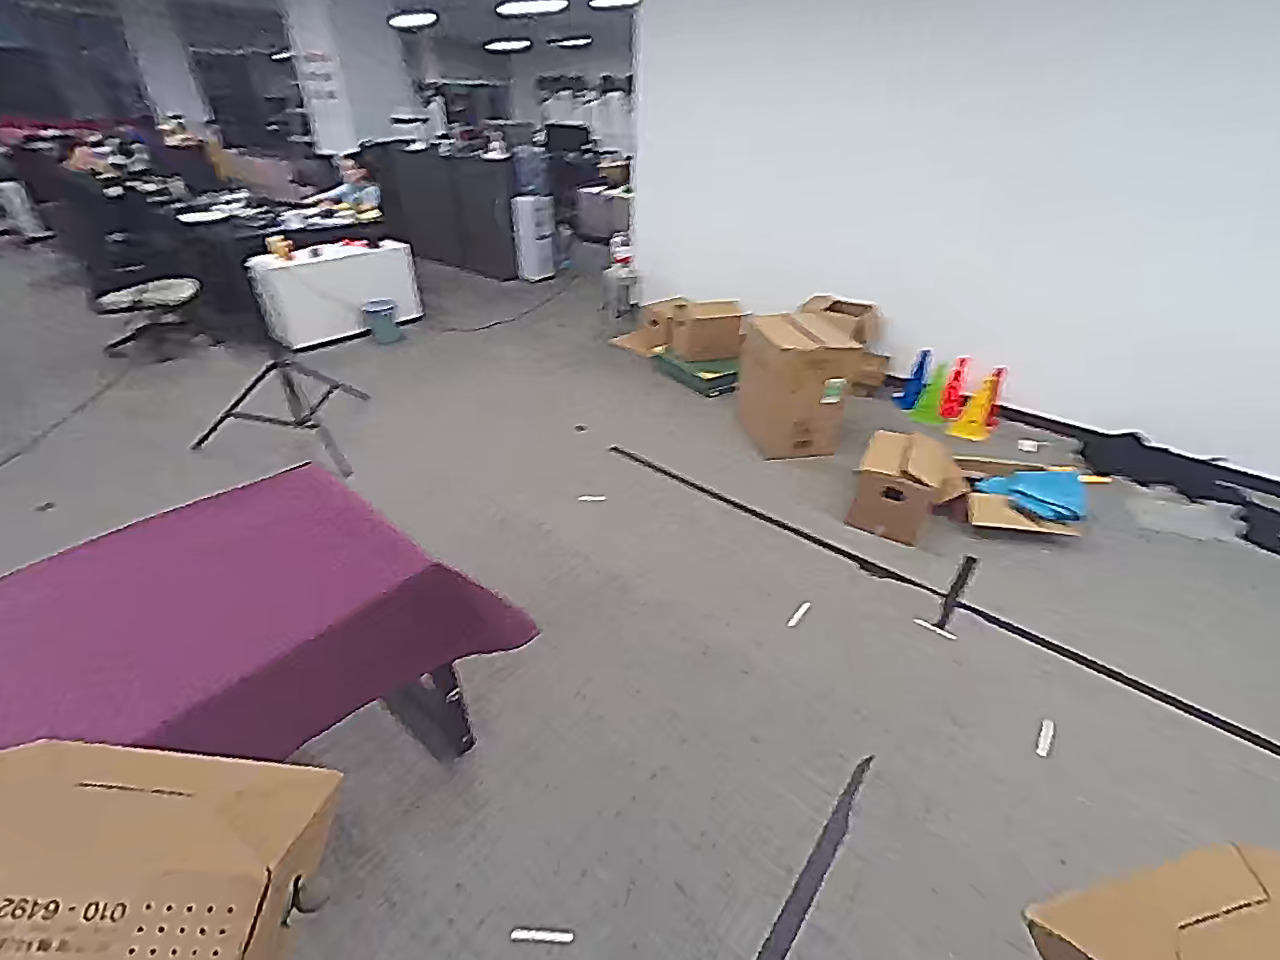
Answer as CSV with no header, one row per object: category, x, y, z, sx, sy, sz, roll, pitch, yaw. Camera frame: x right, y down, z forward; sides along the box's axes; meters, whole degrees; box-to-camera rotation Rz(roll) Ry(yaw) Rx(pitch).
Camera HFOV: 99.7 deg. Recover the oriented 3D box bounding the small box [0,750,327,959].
small box,-0.256,0.218,0.223,0.168,0.179,0.176,15,68,-15
